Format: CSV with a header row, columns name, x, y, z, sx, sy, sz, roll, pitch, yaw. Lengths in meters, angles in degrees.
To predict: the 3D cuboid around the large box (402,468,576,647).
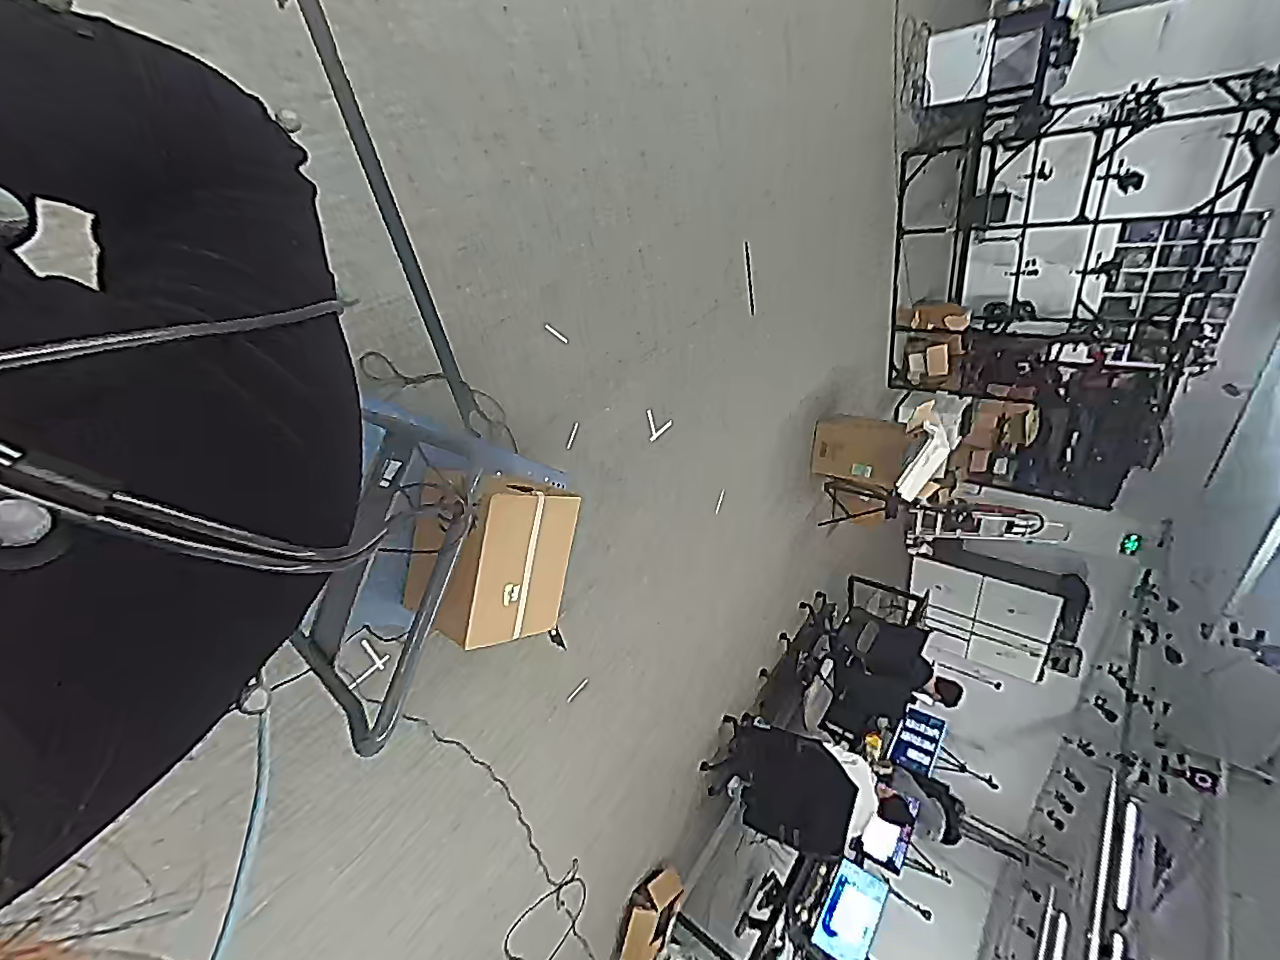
name,x,y,z,sx,sy,sz,roll,pitch,yaw
large box,-0.424,0.193,1.519,0.320,0.320,0.408,5,100,-52
